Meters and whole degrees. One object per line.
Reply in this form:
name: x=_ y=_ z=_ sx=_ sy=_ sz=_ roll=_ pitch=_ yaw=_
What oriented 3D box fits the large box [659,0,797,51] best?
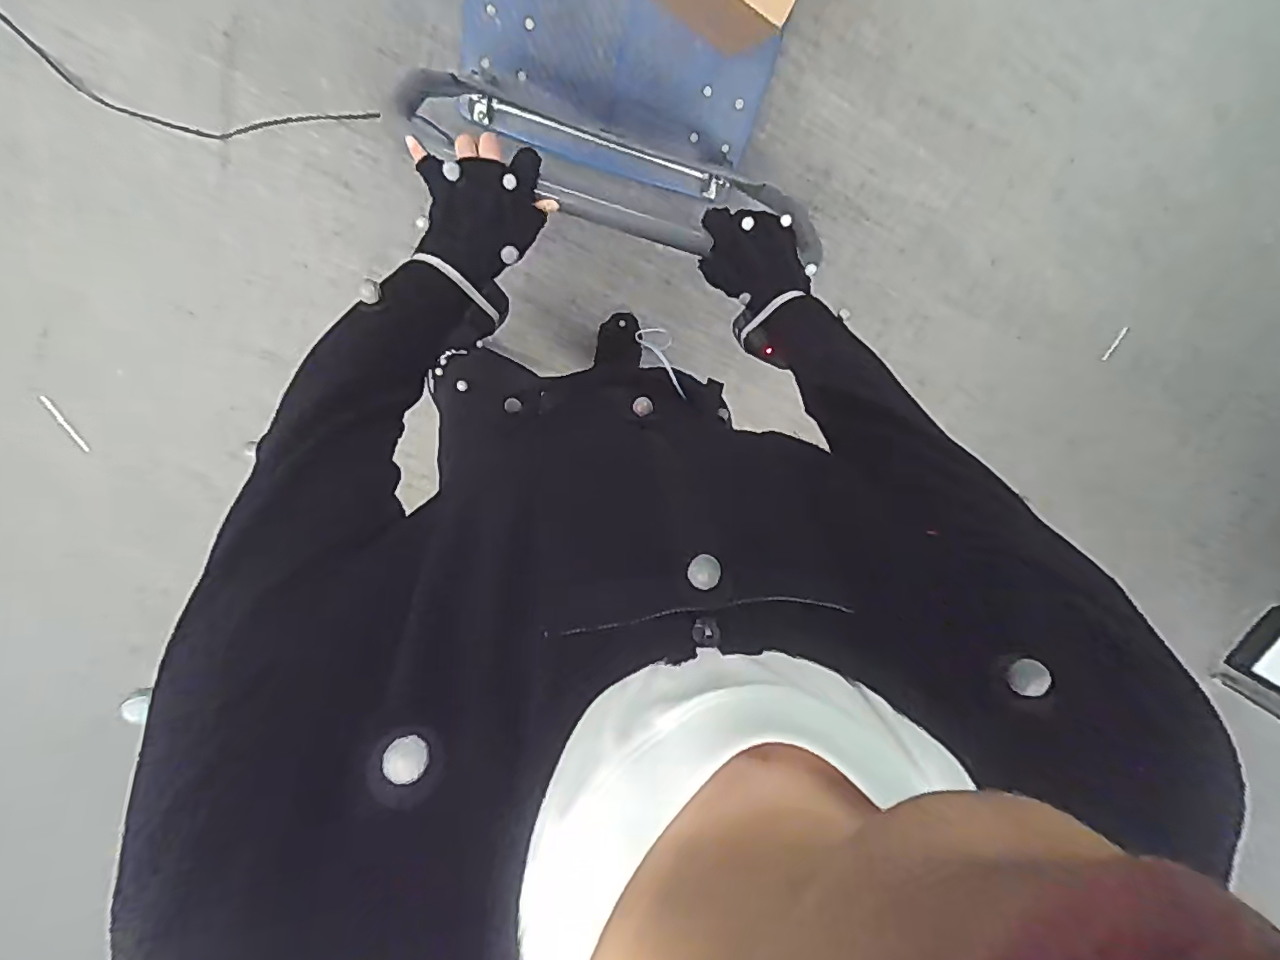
large box: x=0.091 y=-0.924 z=0.792 sx=0.408 sy=0.320 sz=0.320 roll=22 pitch=117 yaw=-18
